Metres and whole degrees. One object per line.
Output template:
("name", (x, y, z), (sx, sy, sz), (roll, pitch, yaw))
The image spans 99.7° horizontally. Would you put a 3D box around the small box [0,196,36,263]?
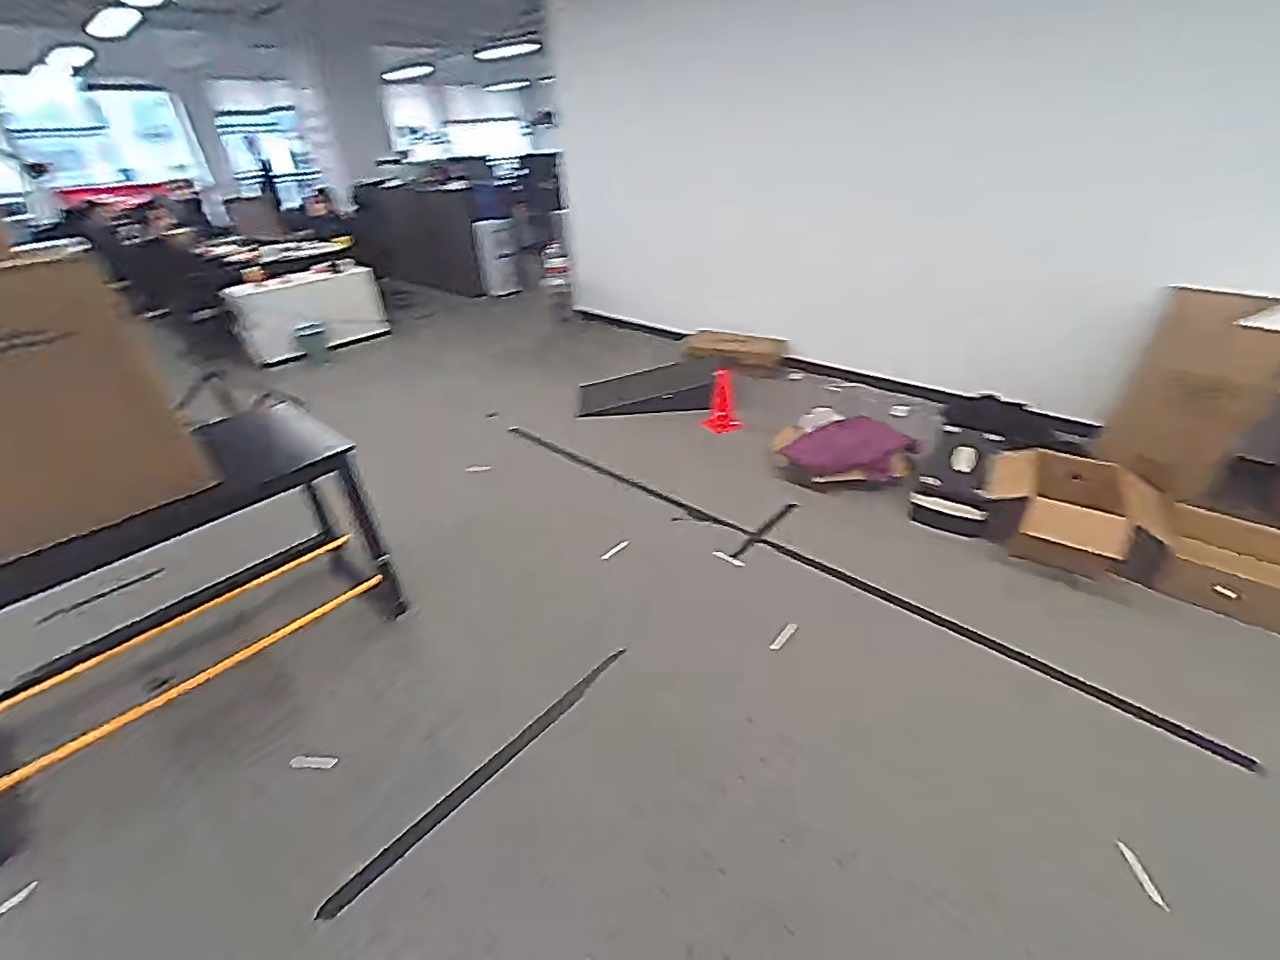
("small box", (-1.470, -0.558, 1.163), (0.179, 0.176, 0.168), (22, 41, 31))
